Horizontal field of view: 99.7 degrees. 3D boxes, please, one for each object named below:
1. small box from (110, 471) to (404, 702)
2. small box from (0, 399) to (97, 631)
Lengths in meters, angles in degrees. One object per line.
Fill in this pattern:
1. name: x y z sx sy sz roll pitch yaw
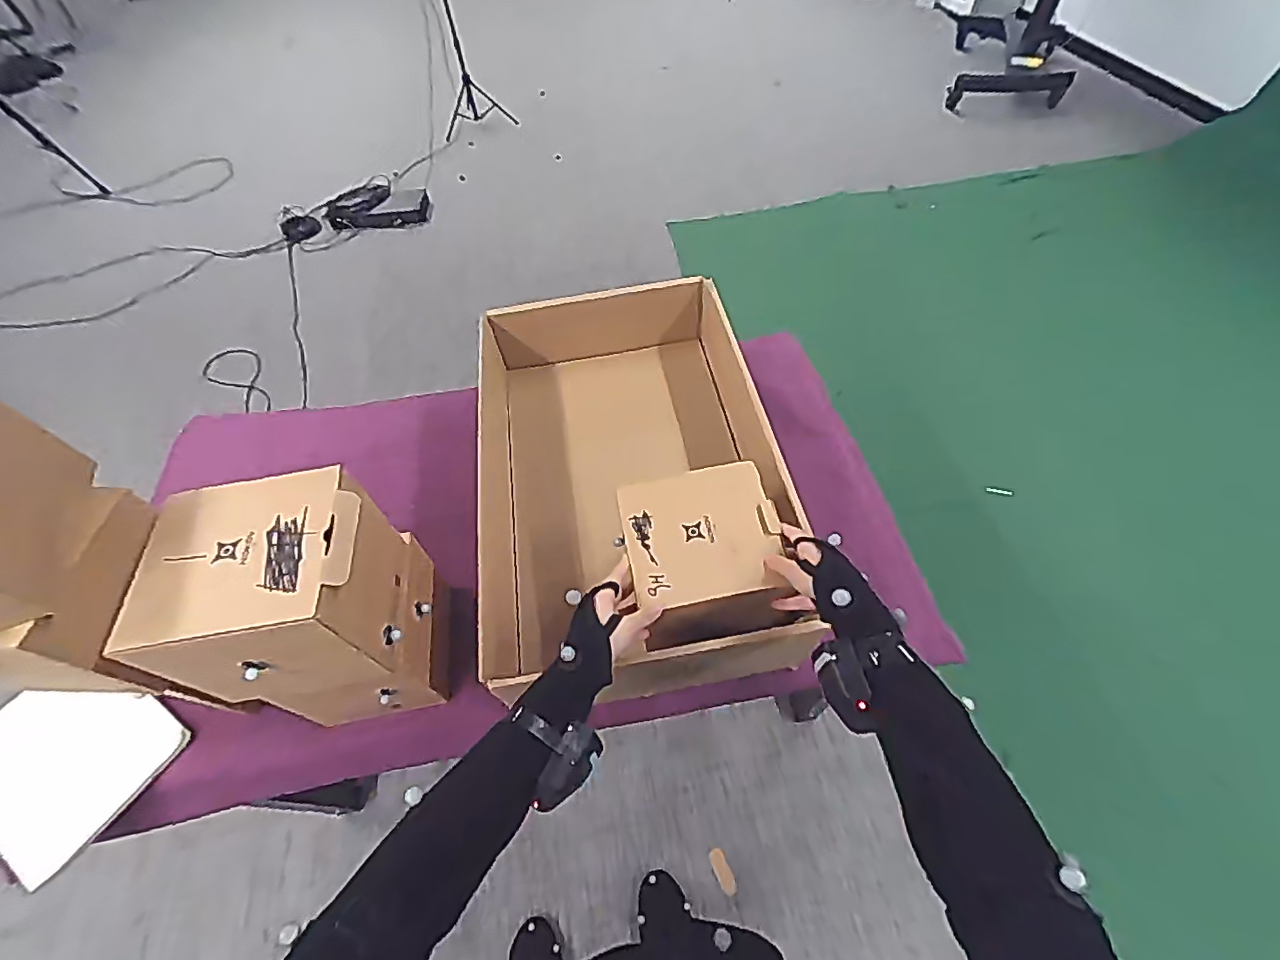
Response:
1. small box: -0.366 0.115 0.564 0.179 0.176 0.168 -10 54 -4
2. small box: -0.612 0.028 0.441 0.168 0.176 0.179 -18 57 -8
